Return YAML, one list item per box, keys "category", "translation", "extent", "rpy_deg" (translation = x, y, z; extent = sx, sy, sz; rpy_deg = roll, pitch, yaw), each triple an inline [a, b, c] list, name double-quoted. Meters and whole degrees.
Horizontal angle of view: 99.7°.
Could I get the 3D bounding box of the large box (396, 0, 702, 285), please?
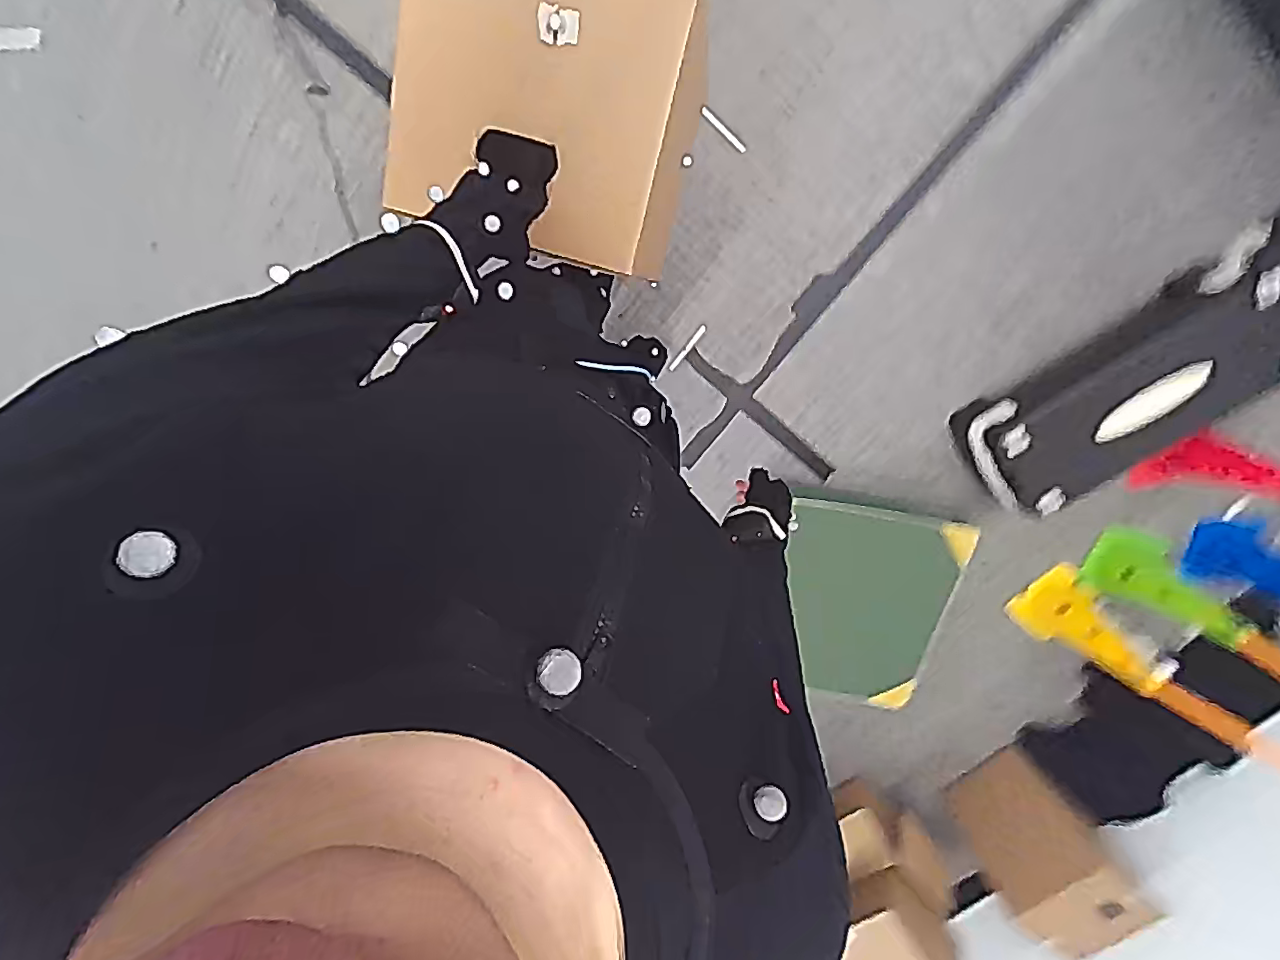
- category: "large box"
  translation: [-0.098, -0.474, 0.782]
  extent: [0.320, 0.408, 0.320]
  rpy_deg: [15, 111, 2]
